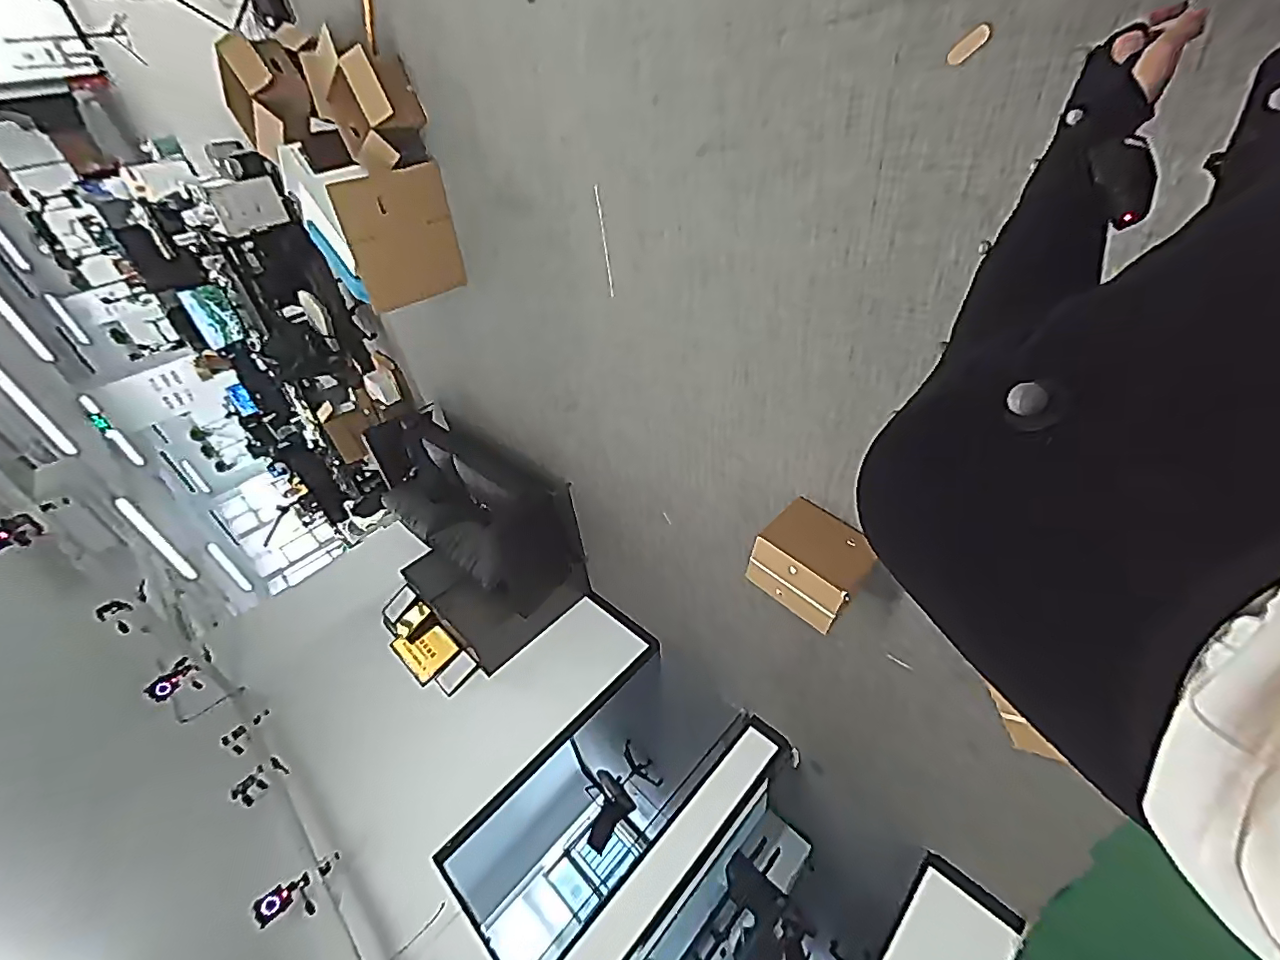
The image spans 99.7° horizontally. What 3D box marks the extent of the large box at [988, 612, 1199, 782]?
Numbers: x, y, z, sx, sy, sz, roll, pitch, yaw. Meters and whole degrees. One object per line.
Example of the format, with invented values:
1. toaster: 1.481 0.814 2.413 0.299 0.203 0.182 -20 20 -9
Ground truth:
1. large box: 1.391 0.636 1.669 0.408 0.320 0.320 -11 112 56
